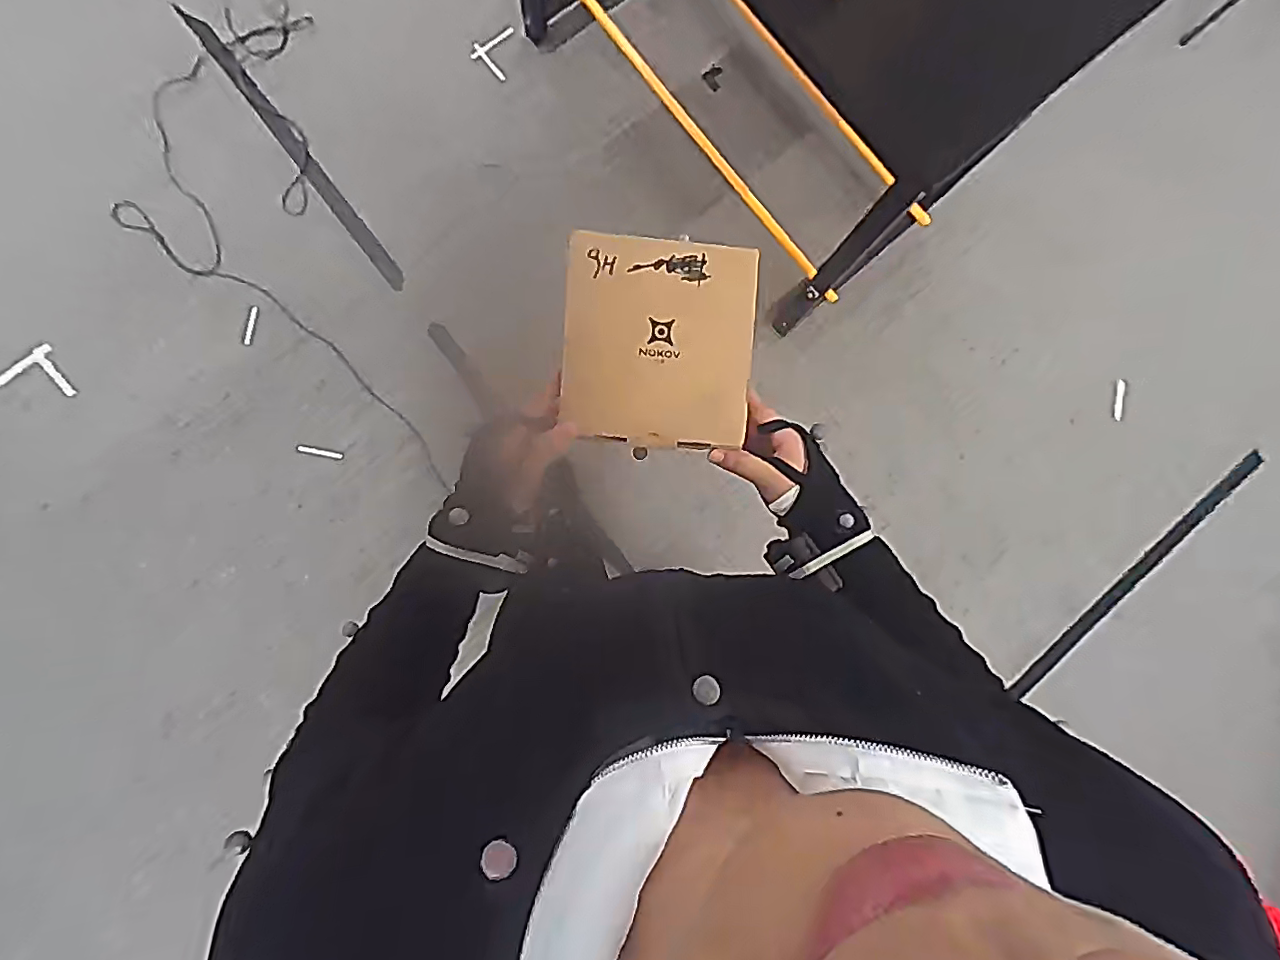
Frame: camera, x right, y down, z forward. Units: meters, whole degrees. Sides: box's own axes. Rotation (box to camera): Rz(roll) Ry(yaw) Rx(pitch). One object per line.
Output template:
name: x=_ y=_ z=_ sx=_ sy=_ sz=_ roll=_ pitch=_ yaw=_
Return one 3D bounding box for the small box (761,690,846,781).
small box: x=0.445 y=0.683 z=1.414 sx=0.179 sy=0.176 sz=0.168 roll=-35 pitch=88 yaw=-6

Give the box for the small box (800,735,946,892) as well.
small box: x=0.457 y=0.655 z=1.088 sx=0.168 sy=0.176 sz=0.179 roll=-35 pitch=88 yaw=-7

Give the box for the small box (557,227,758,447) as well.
small box: x=0.008 y=-0.128 z=0.545 sx=0.168 sy=0.176 sz=0.179 roll=3 pitch=95 yaw=-6

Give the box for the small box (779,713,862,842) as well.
small box: x=0.454 y=0.679 z=1.250 sx=0.168 sy=0.176 sz=0.179 roll=-35 pitch=88 yaw=-6
